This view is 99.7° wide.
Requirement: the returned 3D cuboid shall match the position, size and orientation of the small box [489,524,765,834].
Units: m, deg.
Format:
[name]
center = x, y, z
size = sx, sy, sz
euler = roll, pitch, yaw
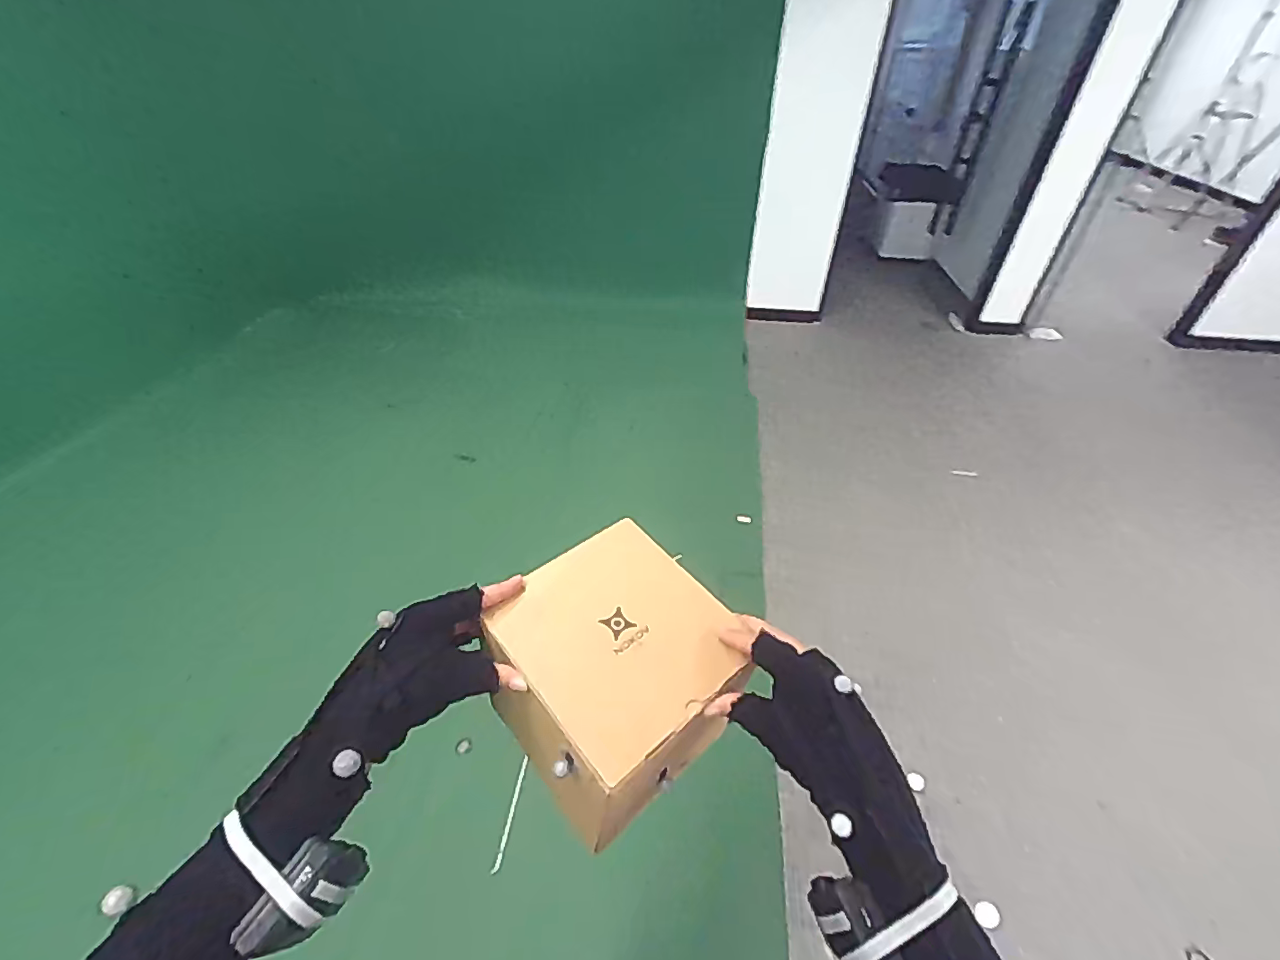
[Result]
[small box]
center = -0.022, 0.179, 0.499
size = 0.168, 0.176, 0.179
euler = -27, 55, -33
